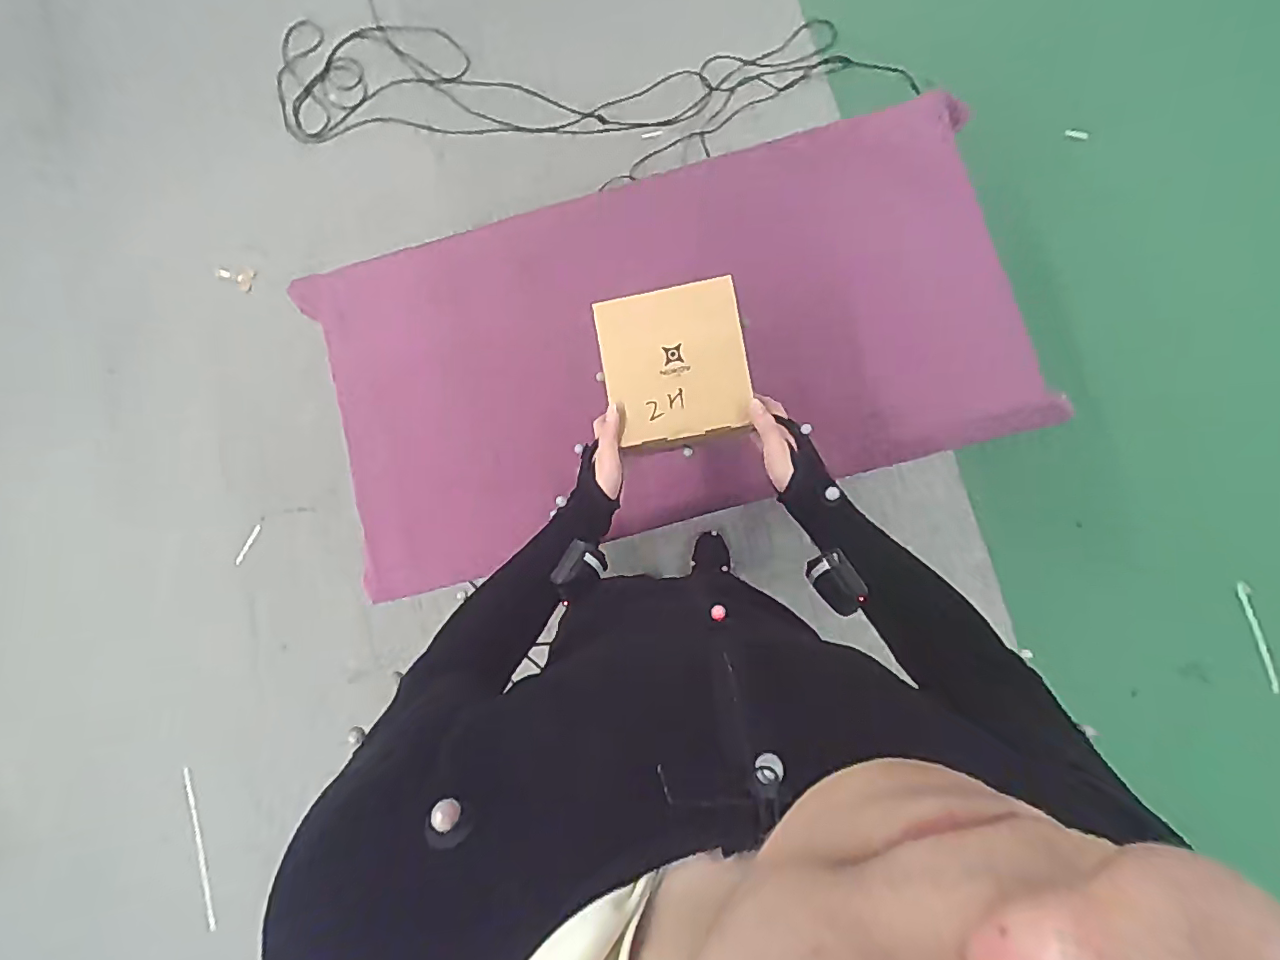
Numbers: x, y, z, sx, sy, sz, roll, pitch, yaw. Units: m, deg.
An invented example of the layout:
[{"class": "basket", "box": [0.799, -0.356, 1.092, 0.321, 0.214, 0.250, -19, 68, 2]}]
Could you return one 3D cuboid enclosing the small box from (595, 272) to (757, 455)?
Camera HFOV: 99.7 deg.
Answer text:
[{"class": "small box", "box": [0.047, -0.135, 0.689, 0.168, 0.176, 0.179, -9, 87, 7]}]
